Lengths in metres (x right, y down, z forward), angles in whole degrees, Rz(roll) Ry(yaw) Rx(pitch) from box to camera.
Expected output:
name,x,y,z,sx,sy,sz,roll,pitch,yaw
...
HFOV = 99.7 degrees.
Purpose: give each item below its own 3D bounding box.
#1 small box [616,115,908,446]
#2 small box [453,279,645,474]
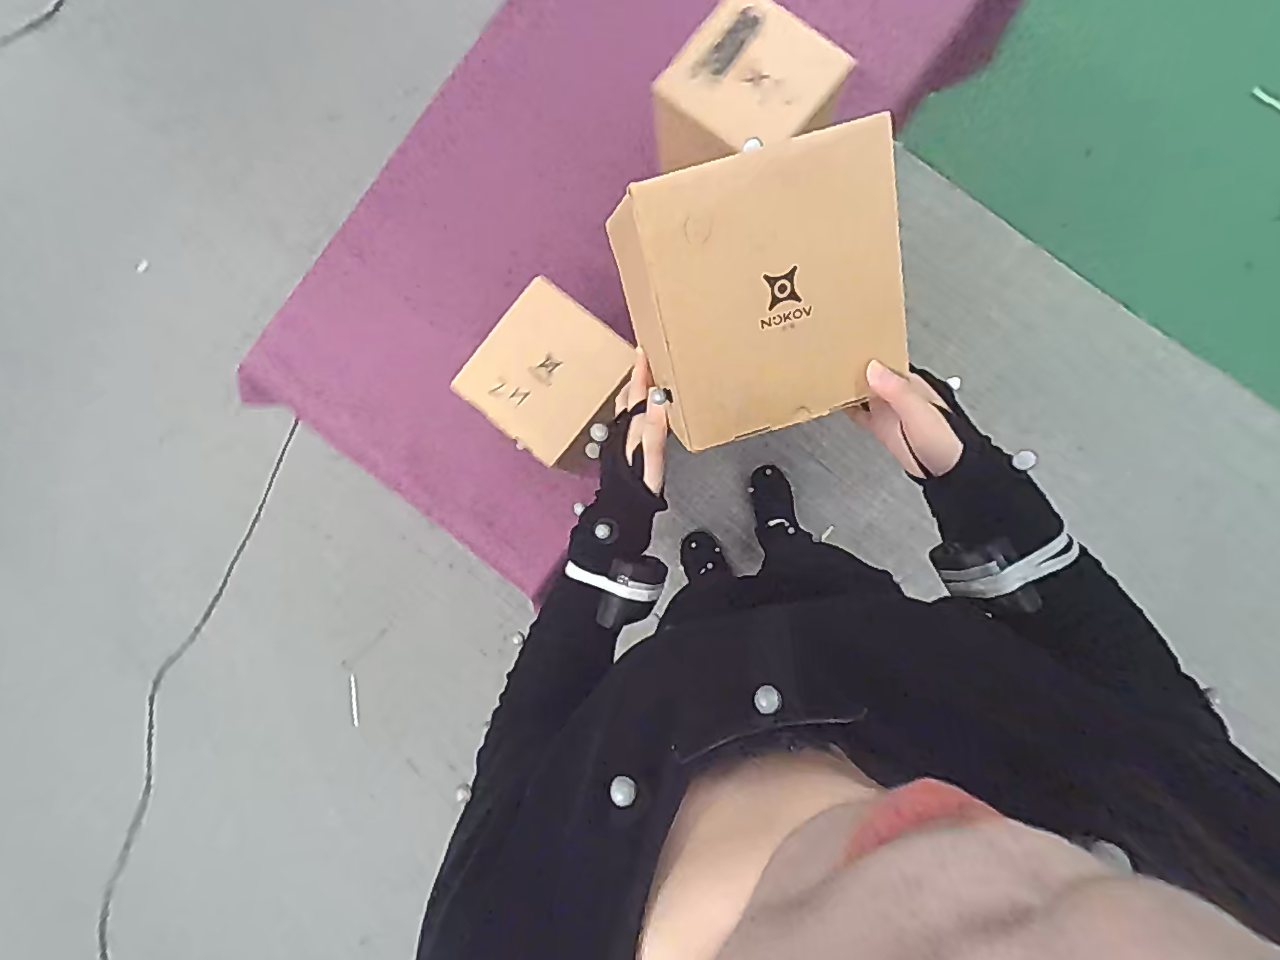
name,x,y,z,sx,sy,sz,roll,pitch,yaw
small box,0.083,-0.149,0.426,0.168,0.176,0.179,-15,113,-2
small box,-0.107,-0.126,0.730,0.168,0.176,0.179,39,92,8
